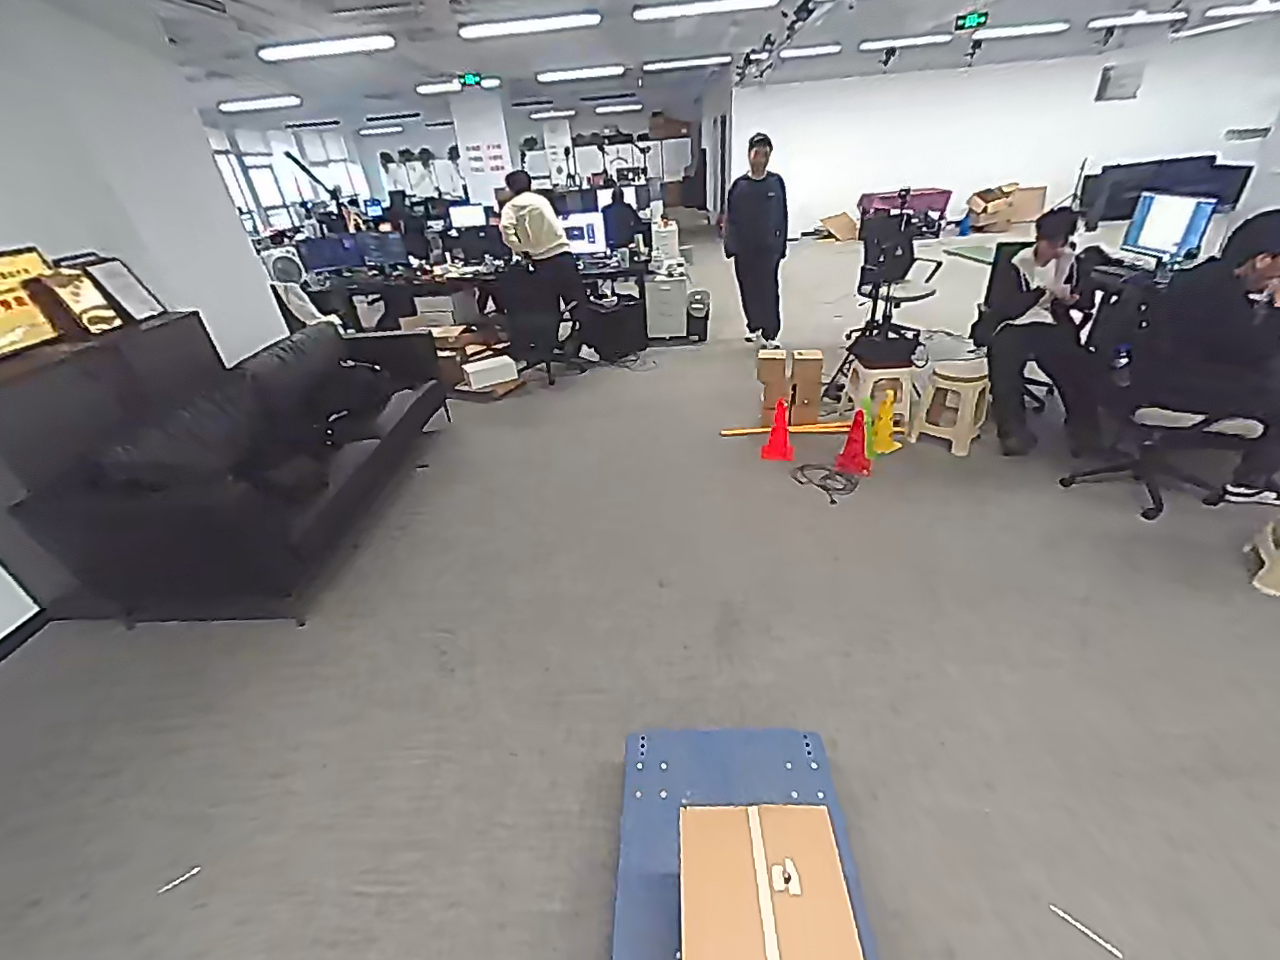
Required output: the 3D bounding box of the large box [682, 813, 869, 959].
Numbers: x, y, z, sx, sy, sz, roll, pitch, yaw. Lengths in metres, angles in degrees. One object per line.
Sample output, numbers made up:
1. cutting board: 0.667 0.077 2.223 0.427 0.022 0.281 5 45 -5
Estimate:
1. large box: 0.249 0.929 1.035 0.320 0.320 0.408 -3 30 4
